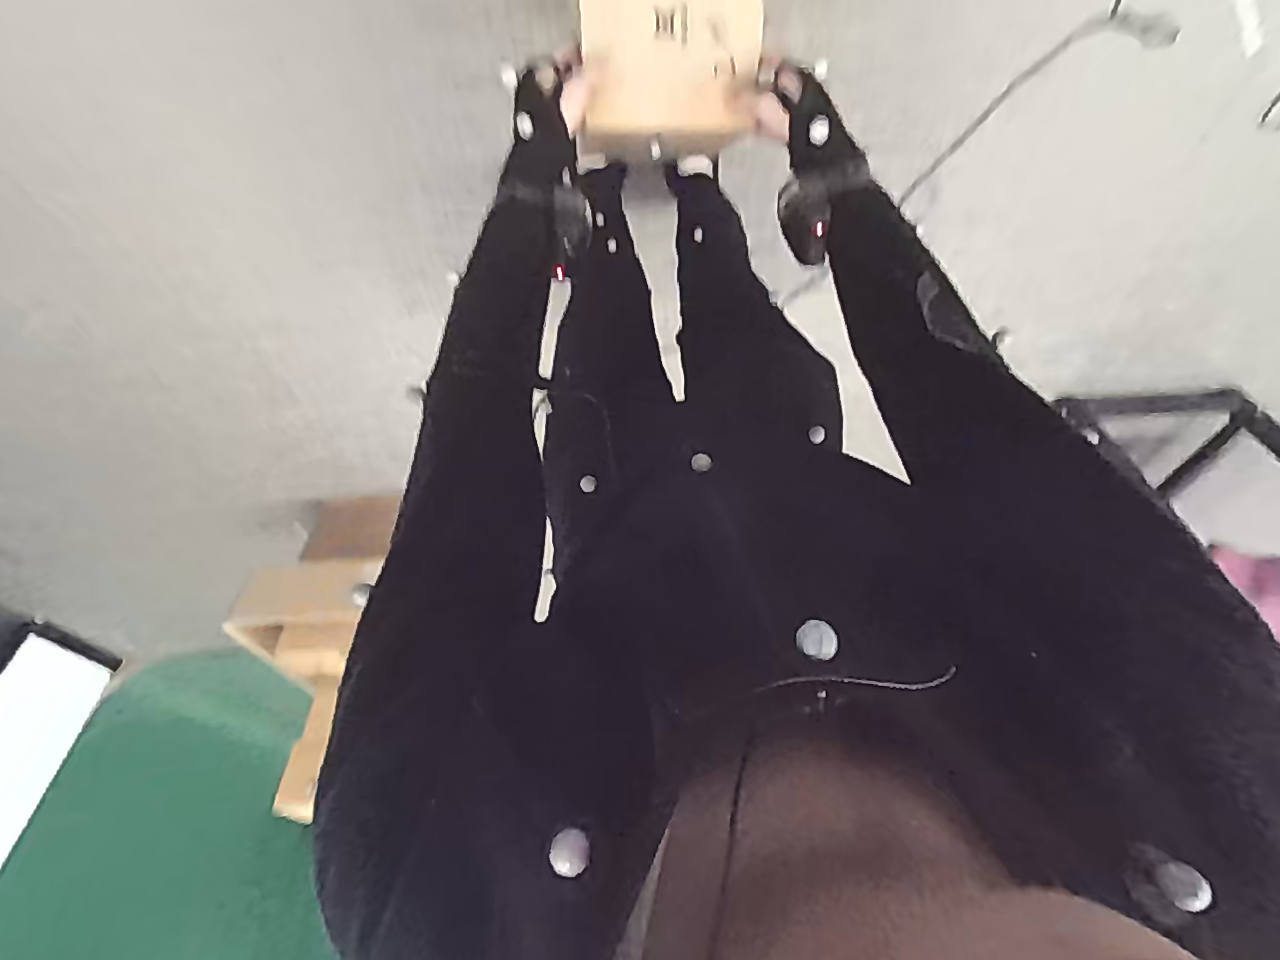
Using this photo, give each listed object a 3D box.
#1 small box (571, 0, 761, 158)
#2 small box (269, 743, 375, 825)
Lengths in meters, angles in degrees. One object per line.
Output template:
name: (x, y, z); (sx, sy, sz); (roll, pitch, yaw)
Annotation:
small box: (0.017, -0.449, 0.572); (0.179, 0.176, 0.168); (-4, 112, -7)
small box: (-0.884, 0.855, 1.523); (0.179, 0.176, 0.168); (-4, 138, 1)
